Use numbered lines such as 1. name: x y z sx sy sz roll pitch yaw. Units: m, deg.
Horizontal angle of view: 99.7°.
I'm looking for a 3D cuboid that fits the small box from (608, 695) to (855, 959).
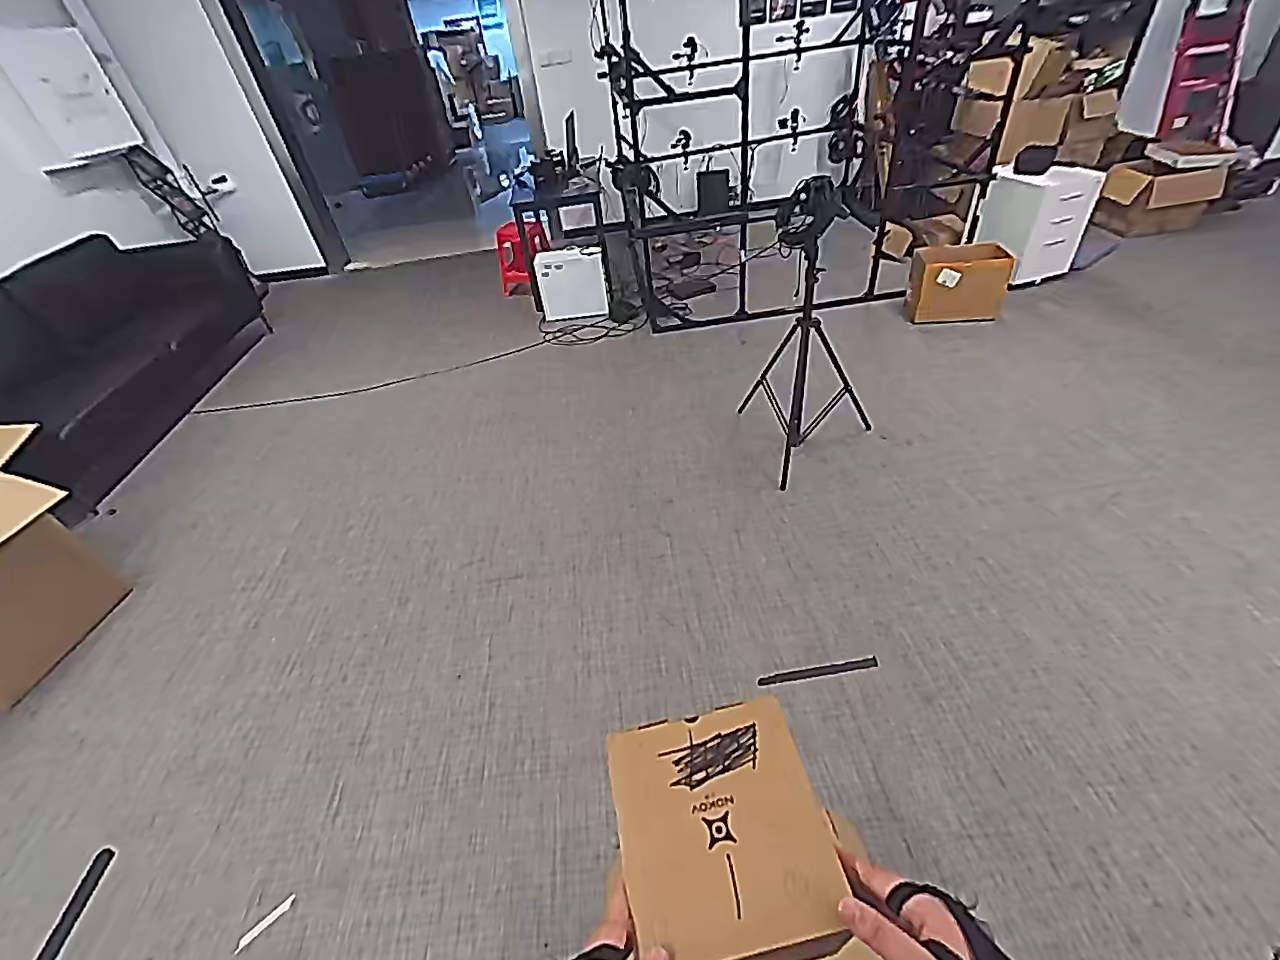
1. small box: 0.071 0.334 0.501 0.168 0.176 0.179 -13 43 -3
